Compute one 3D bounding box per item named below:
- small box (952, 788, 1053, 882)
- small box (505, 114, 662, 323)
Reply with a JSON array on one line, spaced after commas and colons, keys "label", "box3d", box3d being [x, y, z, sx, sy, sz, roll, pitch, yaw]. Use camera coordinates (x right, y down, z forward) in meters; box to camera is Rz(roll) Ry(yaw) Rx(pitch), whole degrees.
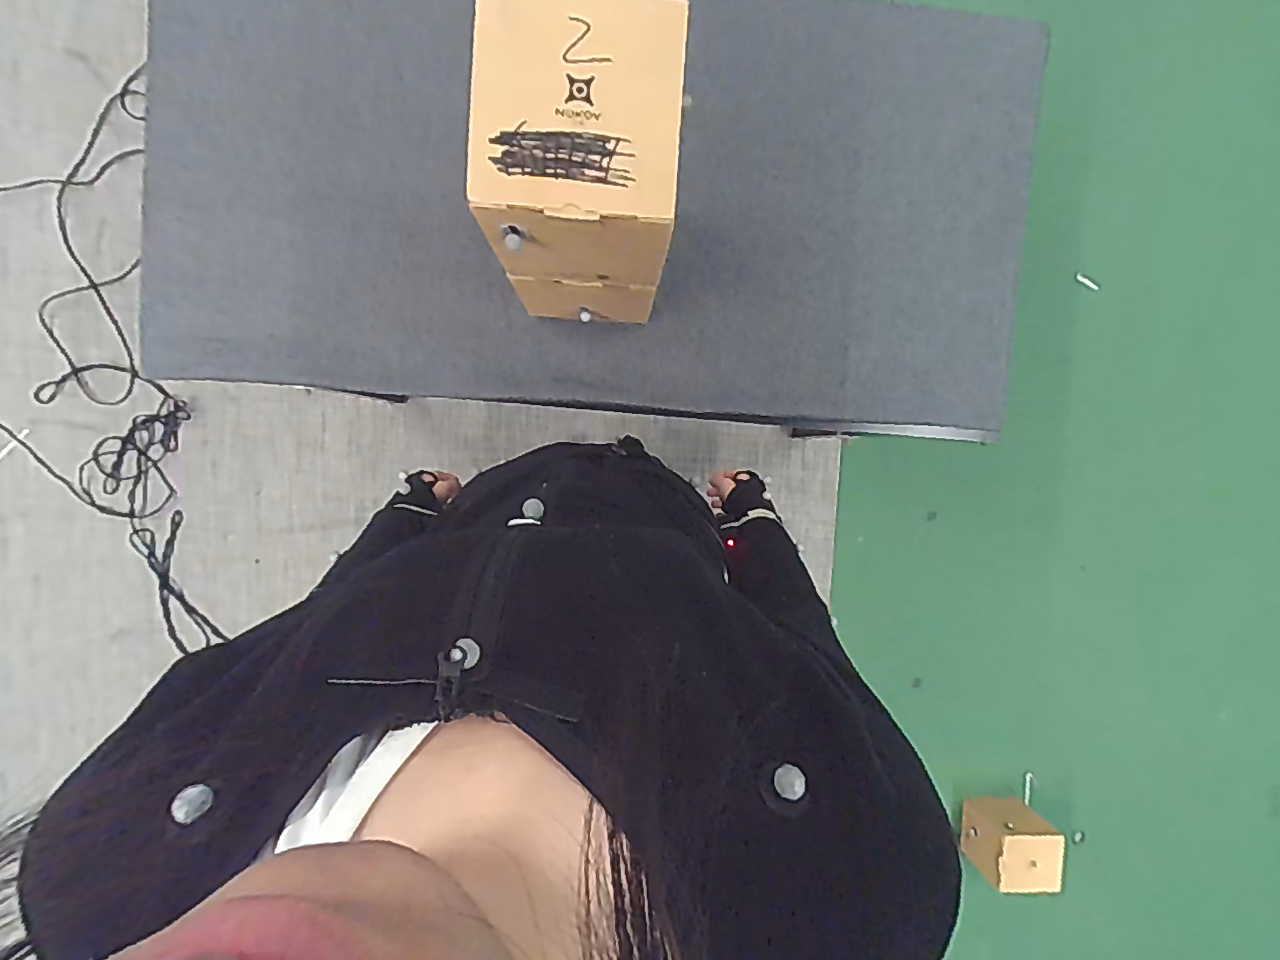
[{"label": "small box", "box3d": [1.051, 1.027, 1.576, 0.179, 0.176, 0.168, 1, 94, -4]}, {"label": "small box", "box3d": [-0.068, -0.308, 0.672, 0.168, 0.176, 0.179, 3, 93, -4]}]
